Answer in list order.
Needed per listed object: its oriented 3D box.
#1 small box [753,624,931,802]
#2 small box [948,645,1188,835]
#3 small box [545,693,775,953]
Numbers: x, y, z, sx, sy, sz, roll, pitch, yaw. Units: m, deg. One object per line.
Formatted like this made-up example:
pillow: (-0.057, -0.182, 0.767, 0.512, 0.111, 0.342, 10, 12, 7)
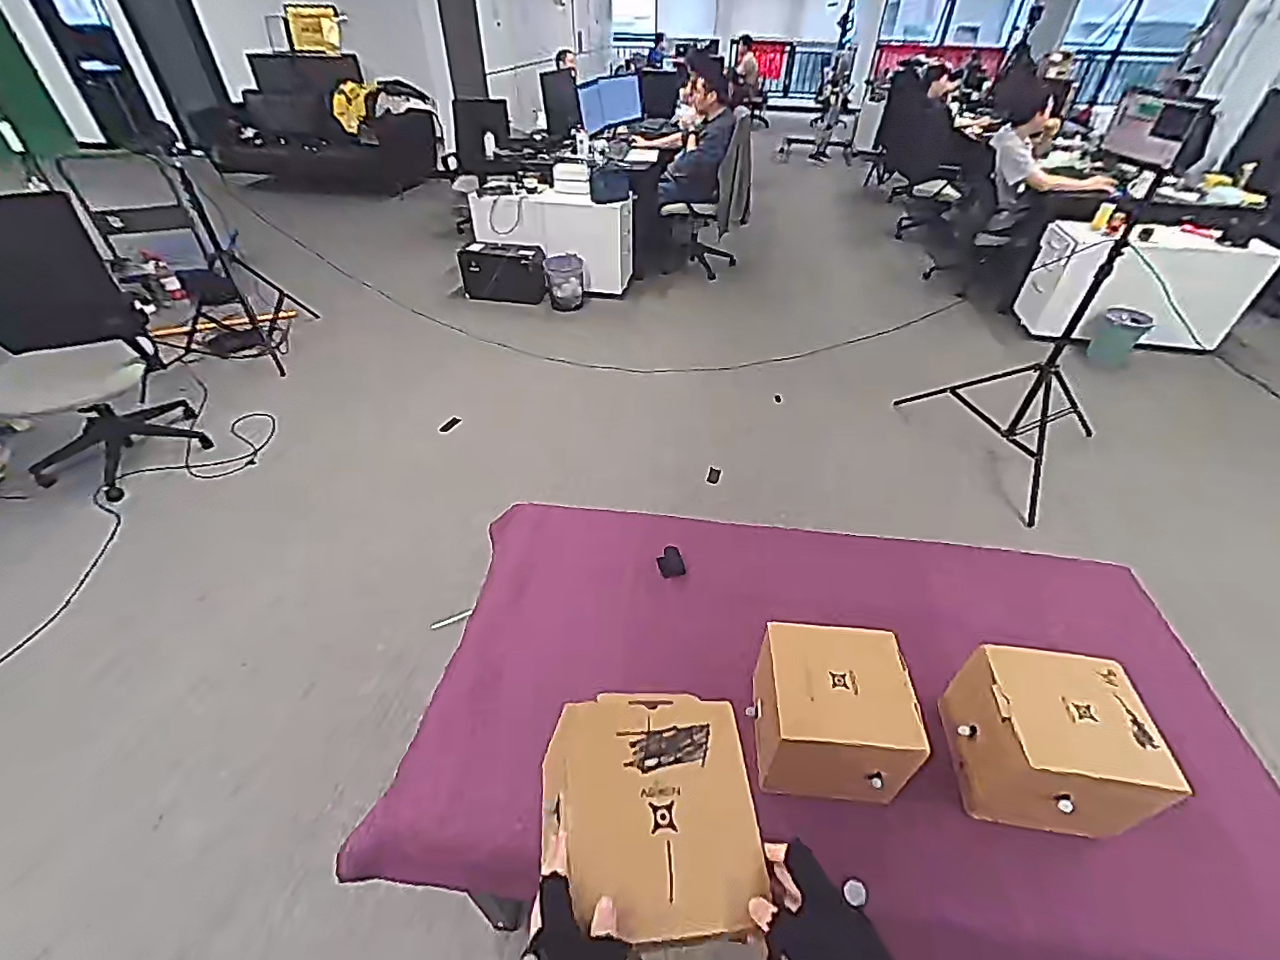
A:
small box: (0.260, 0.321, 0.744, 0.179, 0.176, 0.168, 2, 39, 3)
small box: (0.537, 0.345, 0.719, 0.179, 0.176, 0.168, 5, 41, 7)
small box: (0.001, 0.324, 0.517, 0.168, 0.176, 0.179, 5, 46, -14)
